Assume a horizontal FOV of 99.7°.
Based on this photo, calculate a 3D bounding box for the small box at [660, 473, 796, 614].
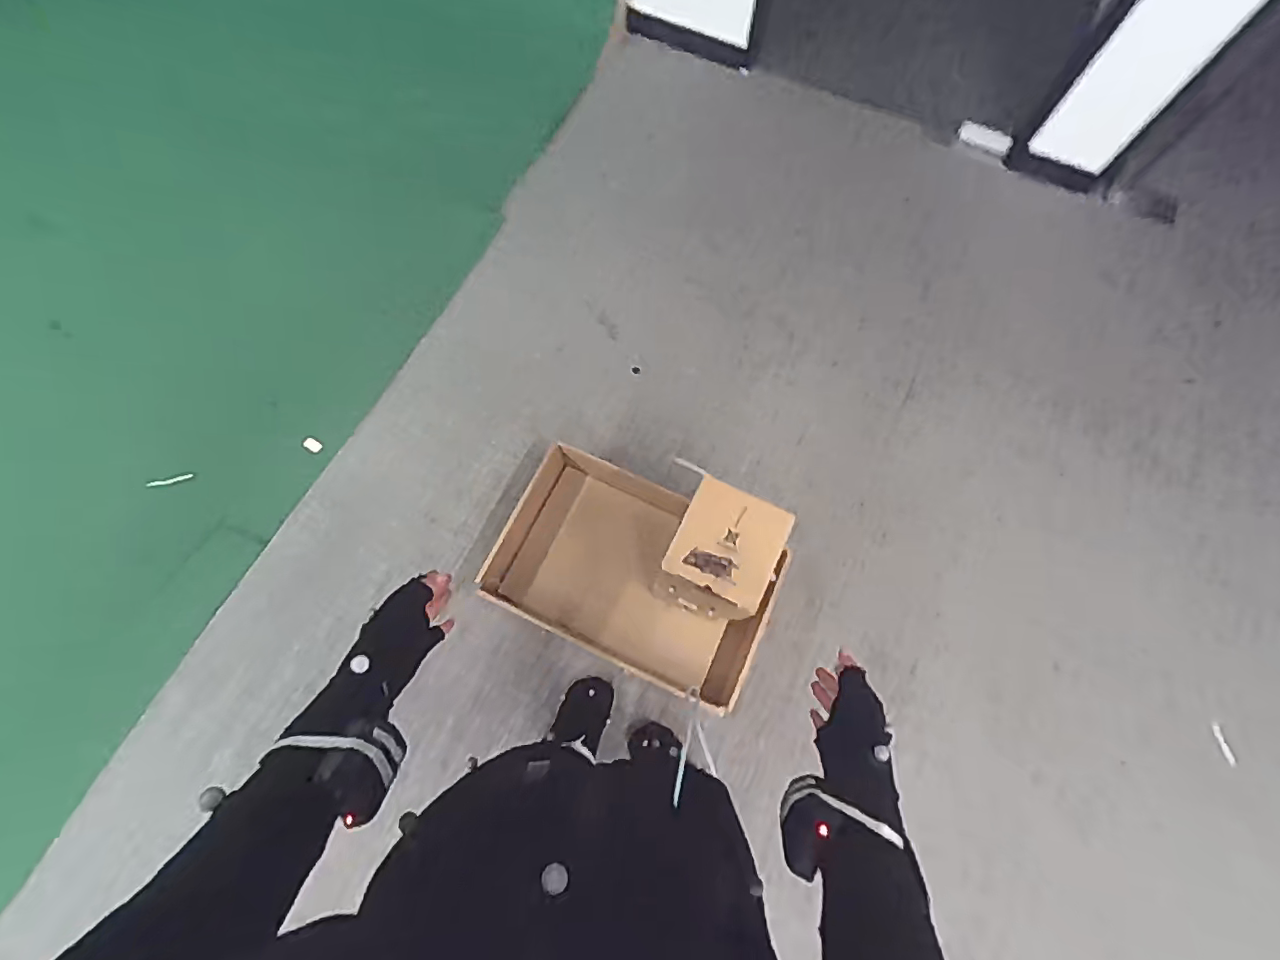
[{"bbox_3d":[0.144,0.120,0.940,0.168,0.176,0.179,26,74,7],"label":"small box"}]

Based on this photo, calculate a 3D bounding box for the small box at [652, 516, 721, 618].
[{"bbox_3d":[0.135,0.209,1.257,0.168,0.176,0.179,20,73,8],"label":"small box"}]

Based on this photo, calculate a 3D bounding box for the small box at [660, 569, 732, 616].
[{"bbox_3d":[0.149,0.159,1.082,0.168,0.176,0.179,25,74,8],"label":"small box"}]
